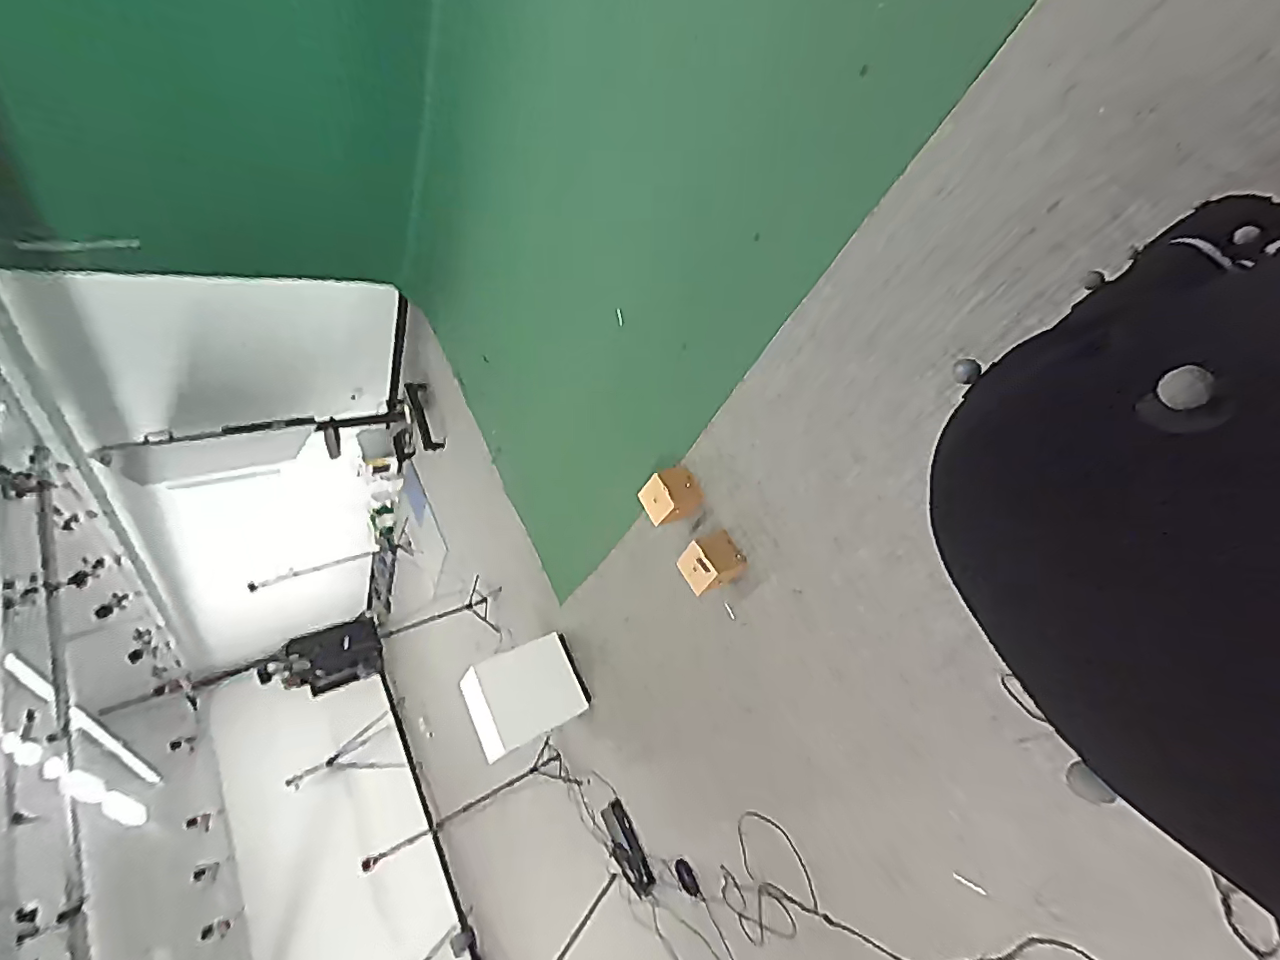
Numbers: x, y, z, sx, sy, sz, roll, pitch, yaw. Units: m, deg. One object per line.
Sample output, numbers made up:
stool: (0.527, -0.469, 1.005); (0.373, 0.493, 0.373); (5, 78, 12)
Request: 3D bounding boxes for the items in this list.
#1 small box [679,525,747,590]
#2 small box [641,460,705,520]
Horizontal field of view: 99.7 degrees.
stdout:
small box: (0.293, 0.299, 2.123); (0.168, 0.176, 0.179); (56, 139, 25)
small box: (0.140, 0.040, 2.243); (0.168, 0.176, 0.179); (60, 140, 20)
